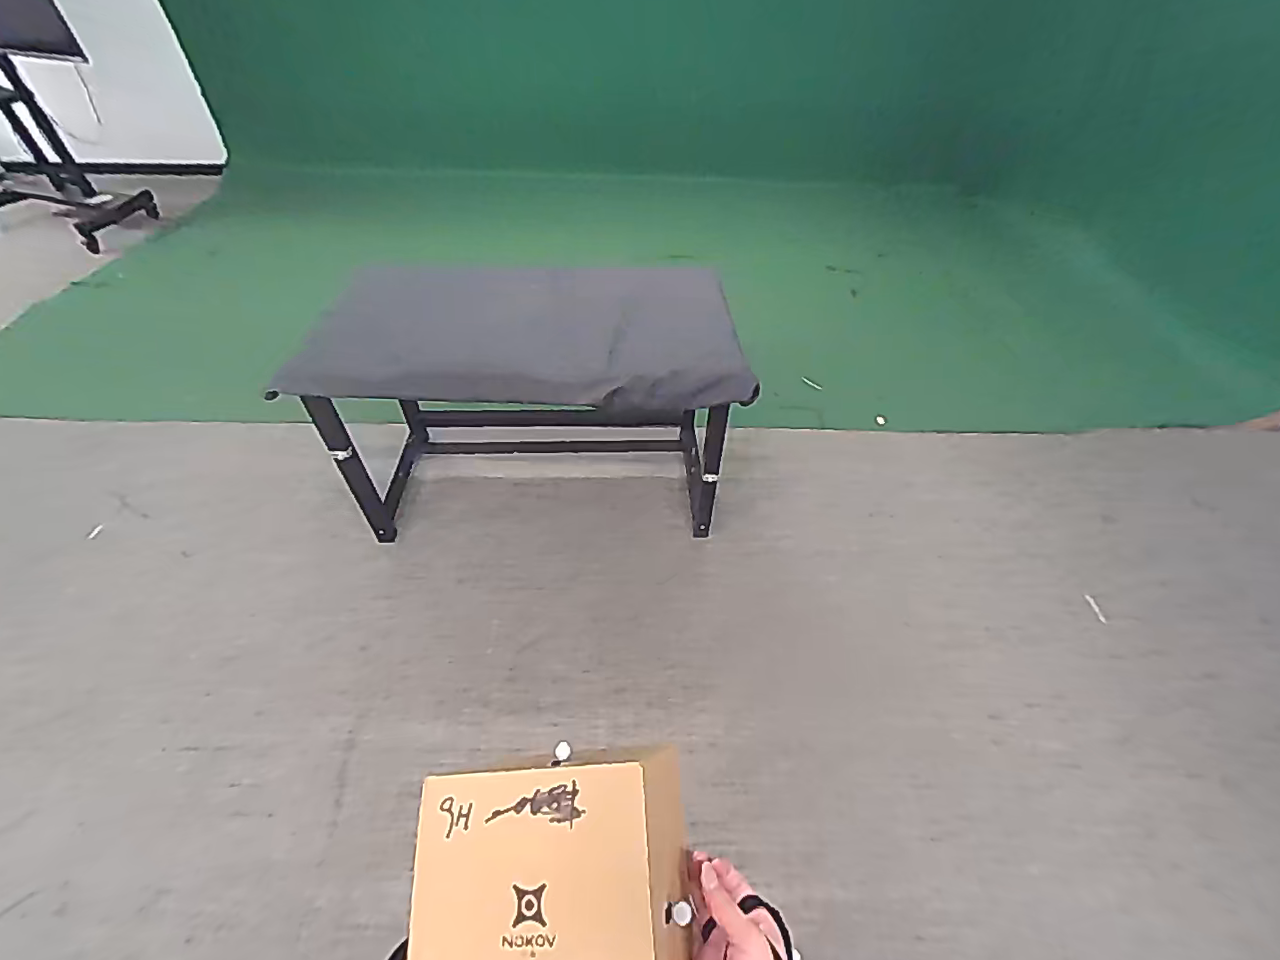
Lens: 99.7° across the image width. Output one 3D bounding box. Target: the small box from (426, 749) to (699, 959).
[{"bbox_3d":[-0.048,0.322,0.428,0.168,0.176,0.179,-8,67,8],"label":"small box"}]
